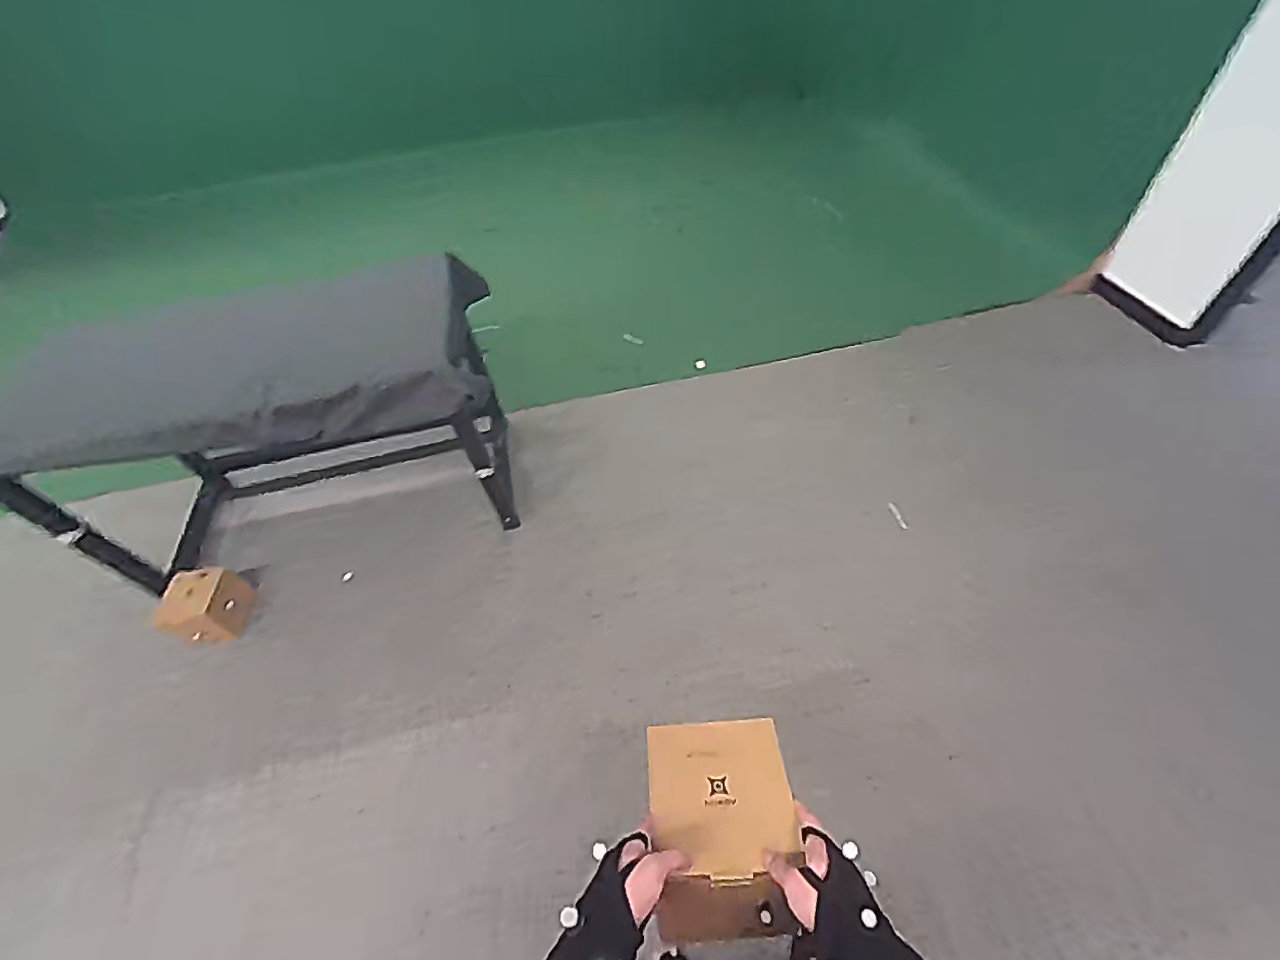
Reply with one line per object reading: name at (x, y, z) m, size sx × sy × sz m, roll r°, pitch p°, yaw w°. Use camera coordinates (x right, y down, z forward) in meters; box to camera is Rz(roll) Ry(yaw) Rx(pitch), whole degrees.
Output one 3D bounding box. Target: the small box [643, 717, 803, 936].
small box at (0.094, 0.426, 0.664) m, size 0.168 × 0.176 × 0.179 m, roll -5°, pitch 30°, yaw 1°
